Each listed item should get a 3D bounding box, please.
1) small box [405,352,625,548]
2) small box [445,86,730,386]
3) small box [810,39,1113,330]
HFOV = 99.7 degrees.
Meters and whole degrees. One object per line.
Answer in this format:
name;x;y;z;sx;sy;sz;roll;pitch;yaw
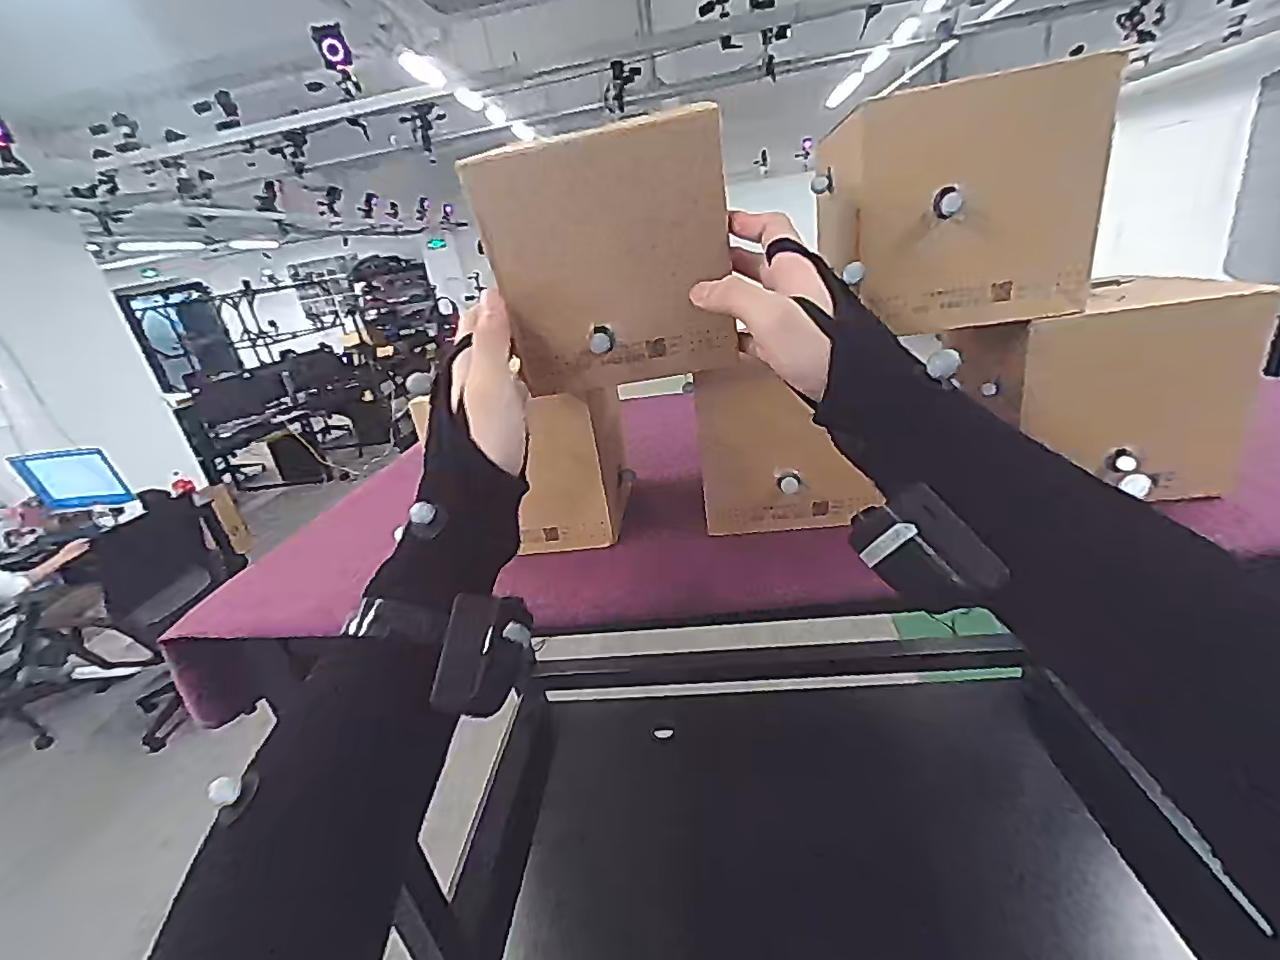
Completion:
small box;-0.114;-0.043;0.577;0.168;0.176;0.179;-6;21;8
small box;-0.025;-0.193;0.431;0.168;0.176;0.179;-9;35;6
small box;0.247;-0.229;0.462;0.168;0.176;0.179;-5;22;9
